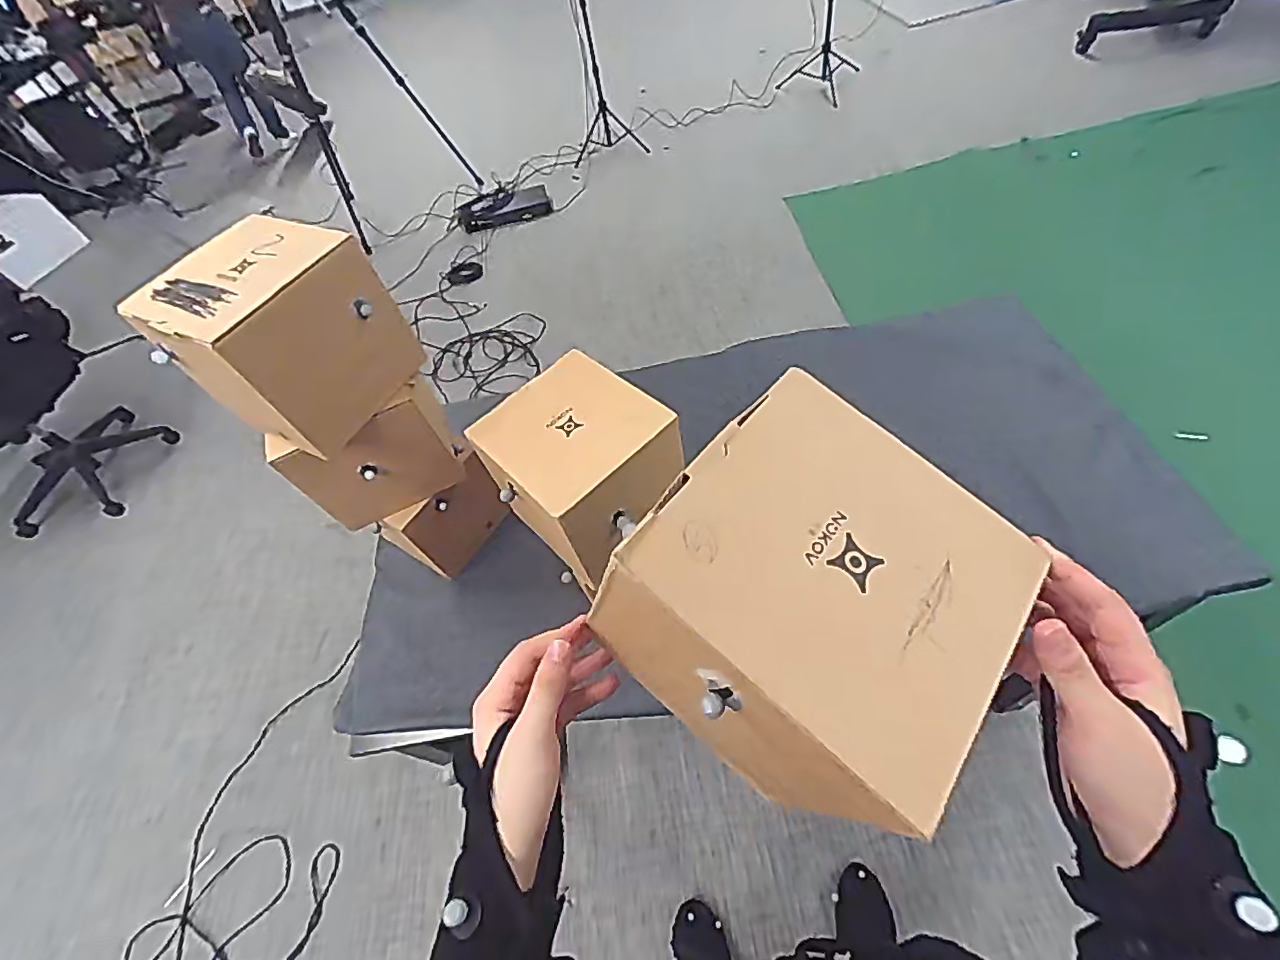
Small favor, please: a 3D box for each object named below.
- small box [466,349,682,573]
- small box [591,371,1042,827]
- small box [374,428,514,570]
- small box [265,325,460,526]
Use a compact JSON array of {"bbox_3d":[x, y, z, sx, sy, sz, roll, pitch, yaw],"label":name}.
[{"bbox_3d":[-0.063,-0.014,0.635,0.168,0.176,0.179,-42,57,-17],"label":"small box"},{"bbox_3d":[0.086,0.074,0.340,0.179,0.176,0.168,41,65,10],"label":"small box"},{"bbox_3d":[-0.338,0.020,0.871,0.179,0.176,0.168,24,63,25],"label":"small box"},{"bbox_3d":[-0.365,-0.070,0.735,0.179,0.176,0.168,-27,55,-7],"label":"small box"}]
